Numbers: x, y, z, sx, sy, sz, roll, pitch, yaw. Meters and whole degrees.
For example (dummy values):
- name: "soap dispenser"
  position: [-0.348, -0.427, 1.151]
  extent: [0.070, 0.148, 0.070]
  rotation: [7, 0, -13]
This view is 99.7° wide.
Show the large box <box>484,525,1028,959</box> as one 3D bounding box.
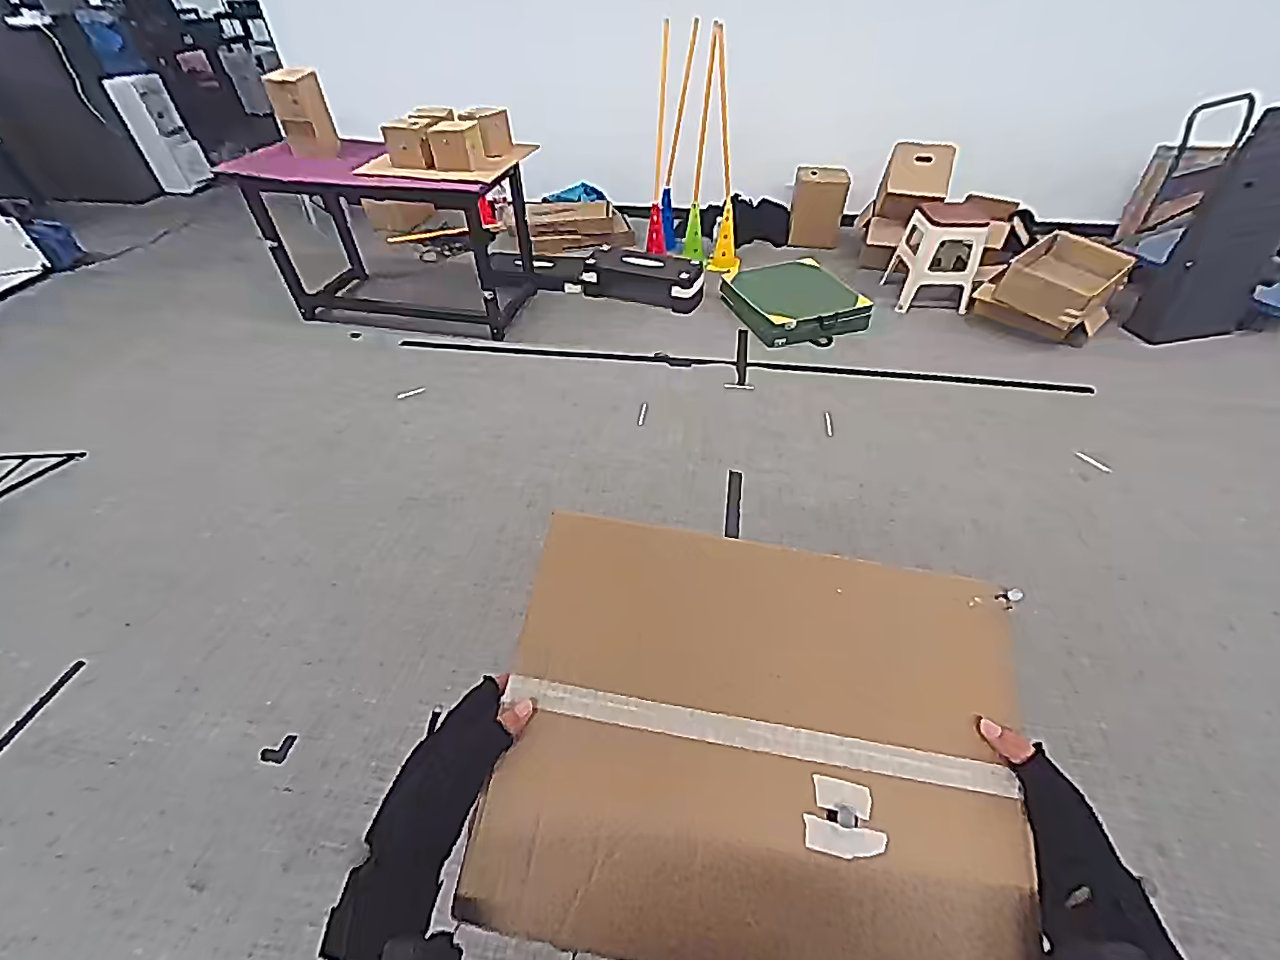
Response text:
- name: "large box"
  position: [0.102, 0.266, 0.582]
  extent: [0.408, 0.320, 0.320]
  rotation: [9, 68, 5]
